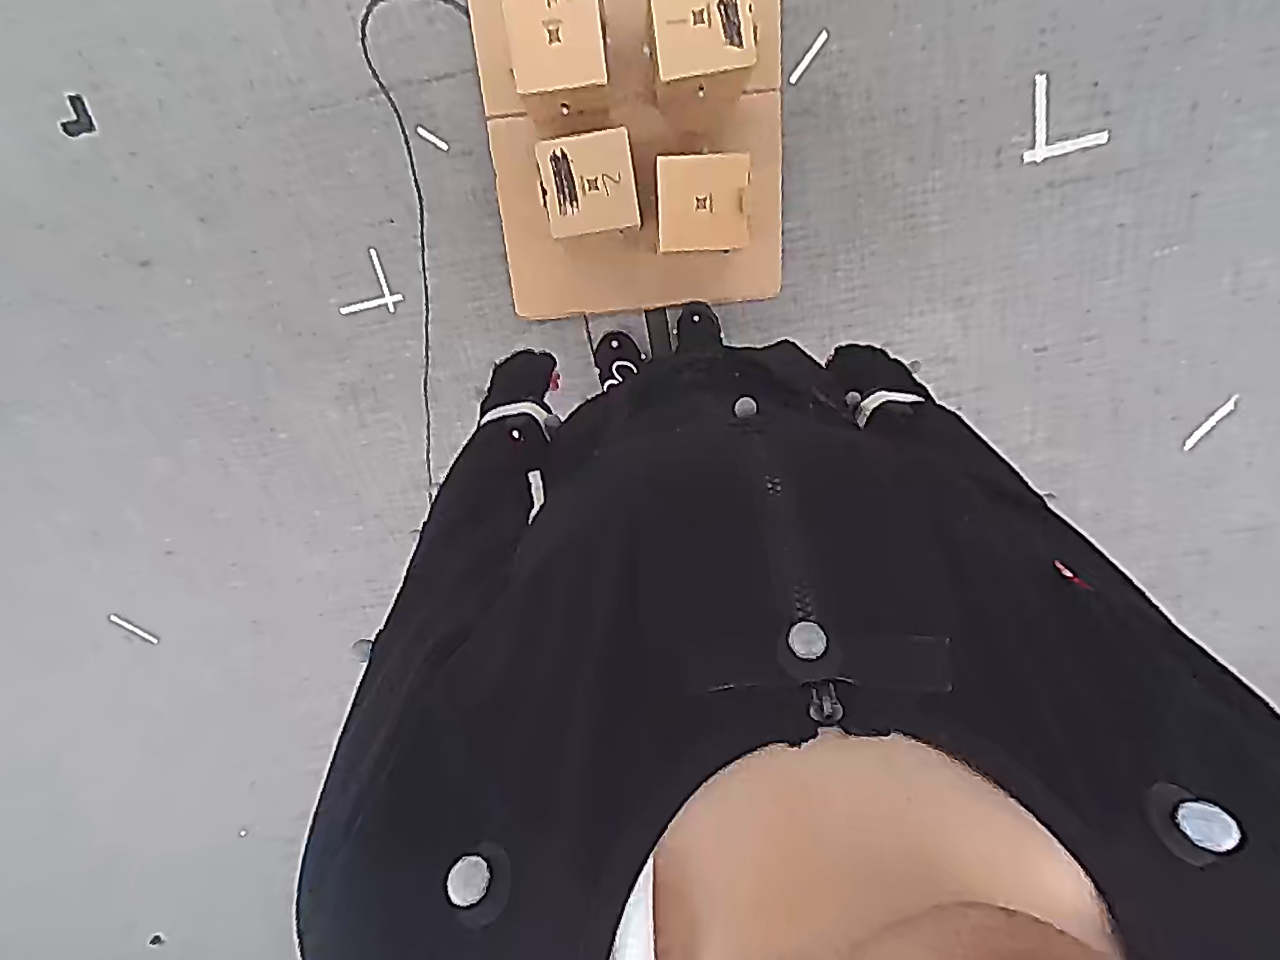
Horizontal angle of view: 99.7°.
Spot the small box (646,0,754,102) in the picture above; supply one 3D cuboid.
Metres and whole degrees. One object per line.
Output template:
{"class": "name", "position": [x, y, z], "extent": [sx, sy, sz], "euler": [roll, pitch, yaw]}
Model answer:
{"class": "small box", "position": [0.107, -0.832, 1.007], "extent": [0.179, 0.176, 0.168], "euler": [-7, 110, 2]}

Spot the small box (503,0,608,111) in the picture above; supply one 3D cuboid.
{"class": "small box", "position": [-0.152, -0.815, 1.010], "extent": [0.168, 0.176, 0.179], "euler": [-6, 110, 0]}
